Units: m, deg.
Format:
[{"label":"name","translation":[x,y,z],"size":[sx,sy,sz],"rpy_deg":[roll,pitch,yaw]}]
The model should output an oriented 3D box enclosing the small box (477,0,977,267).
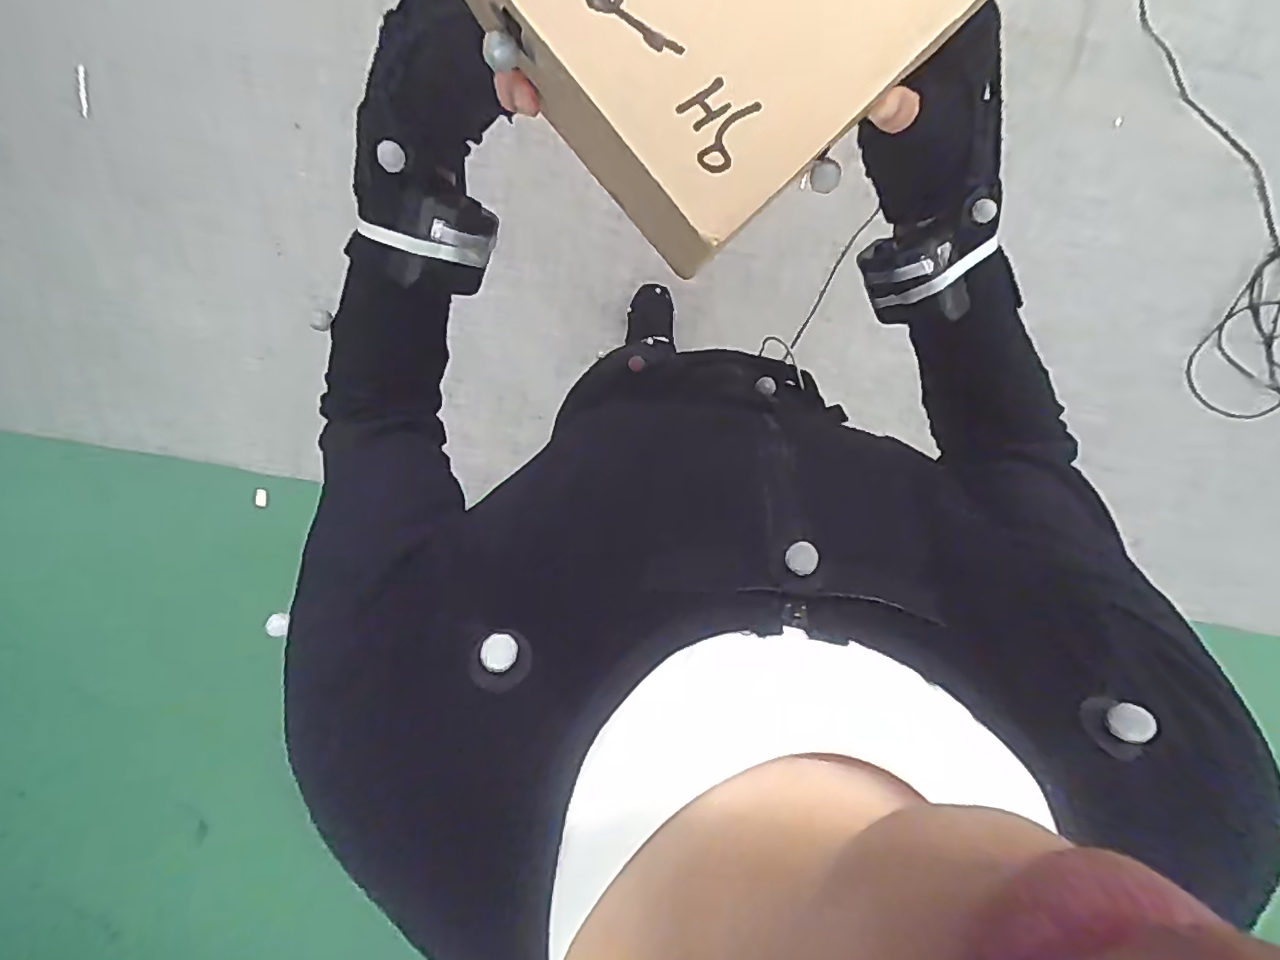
[{"label":"small box","translation":[0.036,-0.216,0.224],"size":[0.179,0.176,0.168],"rpy_deg":[-41,101,12]}]
